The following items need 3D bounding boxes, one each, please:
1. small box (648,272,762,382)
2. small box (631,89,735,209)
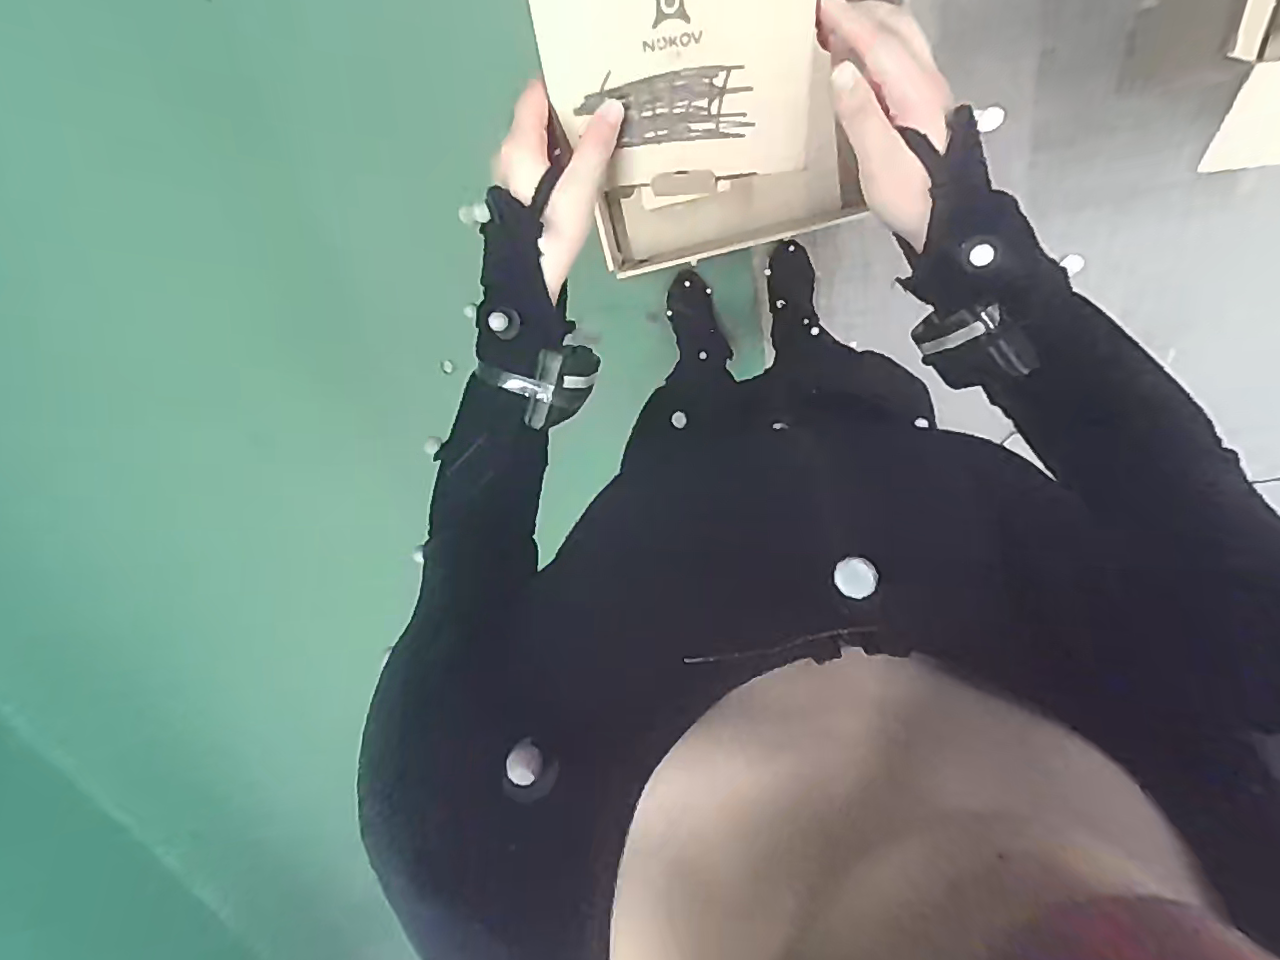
[{"bbox_3d":[0.159,-0.358,1.270,0.176,0.168,0.179,28,93,-41],"label":"small box"},{"bbox_3d":[0.089,-0.655,1.093,0.179,0.176,0.168,-10,114,8],"label":"small box"}]
